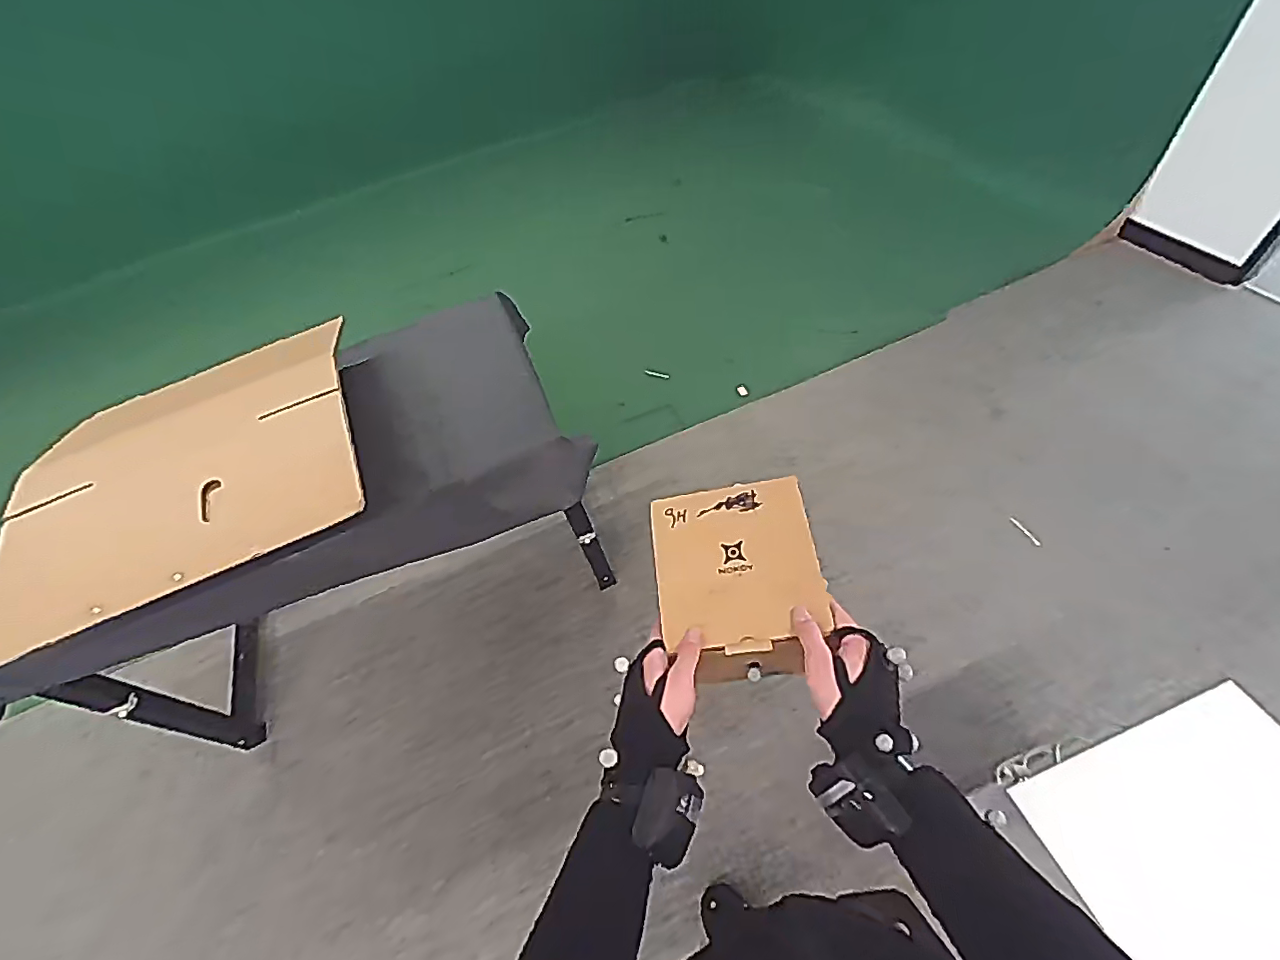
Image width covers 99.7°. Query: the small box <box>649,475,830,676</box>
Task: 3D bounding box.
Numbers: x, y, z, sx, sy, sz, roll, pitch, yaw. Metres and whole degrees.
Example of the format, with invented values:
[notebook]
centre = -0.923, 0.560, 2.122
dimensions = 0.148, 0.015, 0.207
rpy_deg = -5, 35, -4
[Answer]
[small box]
centre = 0.116, 0.123, 0.634
dimensions = 0.168, 0.176, 0.179
rpy_deg = -12, 58, 8
